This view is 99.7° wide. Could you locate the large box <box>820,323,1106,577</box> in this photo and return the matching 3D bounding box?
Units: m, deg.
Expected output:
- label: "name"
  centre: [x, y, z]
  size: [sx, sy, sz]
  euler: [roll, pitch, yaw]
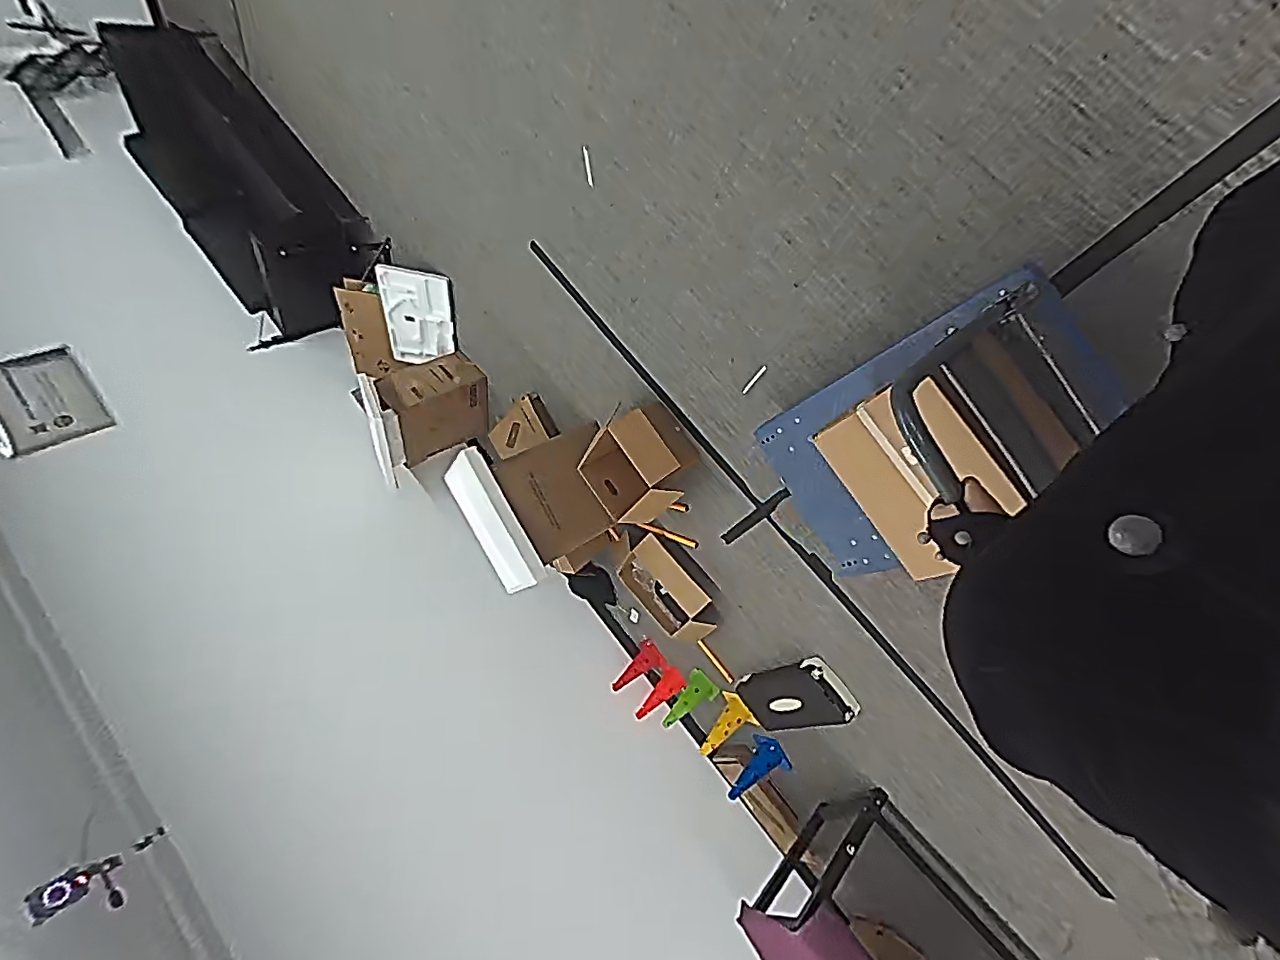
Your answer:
- label: "large box"
  centre: [0.695, -0.062, 1.186]
  size: [0.408, 0.320, 0.320]
  euler: [55, 146, 5]
